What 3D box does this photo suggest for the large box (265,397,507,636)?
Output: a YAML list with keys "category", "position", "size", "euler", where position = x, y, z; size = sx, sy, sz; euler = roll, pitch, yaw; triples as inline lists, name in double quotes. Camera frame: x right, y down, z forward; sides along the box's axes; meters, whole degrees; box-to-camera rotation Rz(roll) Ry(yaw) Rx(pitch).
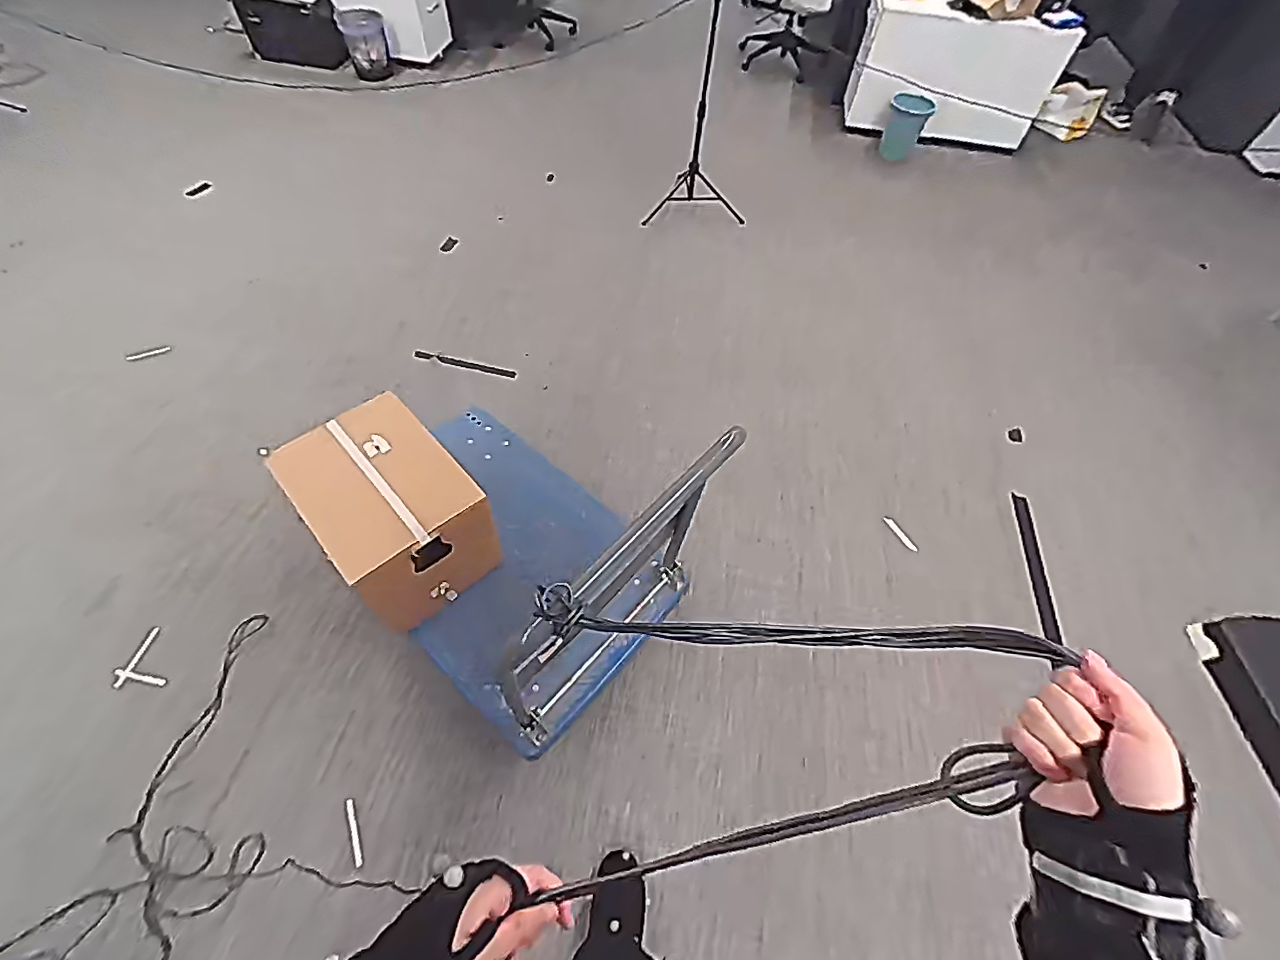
- category: "large box"
  position: [-0.574, 0.087, 1.280]
  size: [0.320, 0.320, 0.408]
  euler: [-36, 65, -26]
